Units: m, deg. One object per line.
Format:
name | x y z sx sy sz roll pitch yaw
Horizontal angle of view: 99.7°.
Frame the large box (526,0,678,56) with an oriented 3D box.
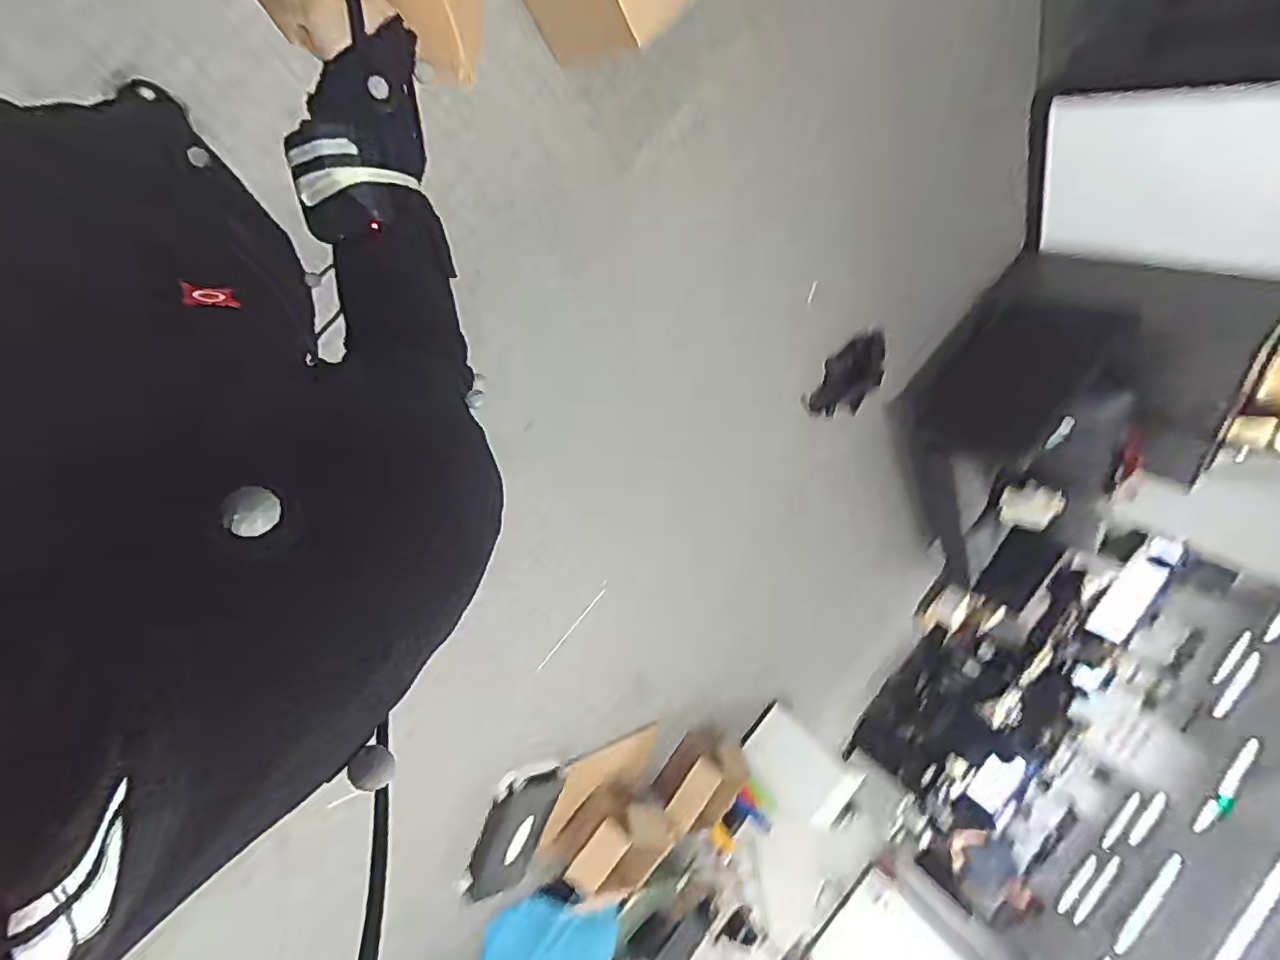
large box | -0.094 -1.096 0.986 0.320 0.320 0.408 -49 138 -5
